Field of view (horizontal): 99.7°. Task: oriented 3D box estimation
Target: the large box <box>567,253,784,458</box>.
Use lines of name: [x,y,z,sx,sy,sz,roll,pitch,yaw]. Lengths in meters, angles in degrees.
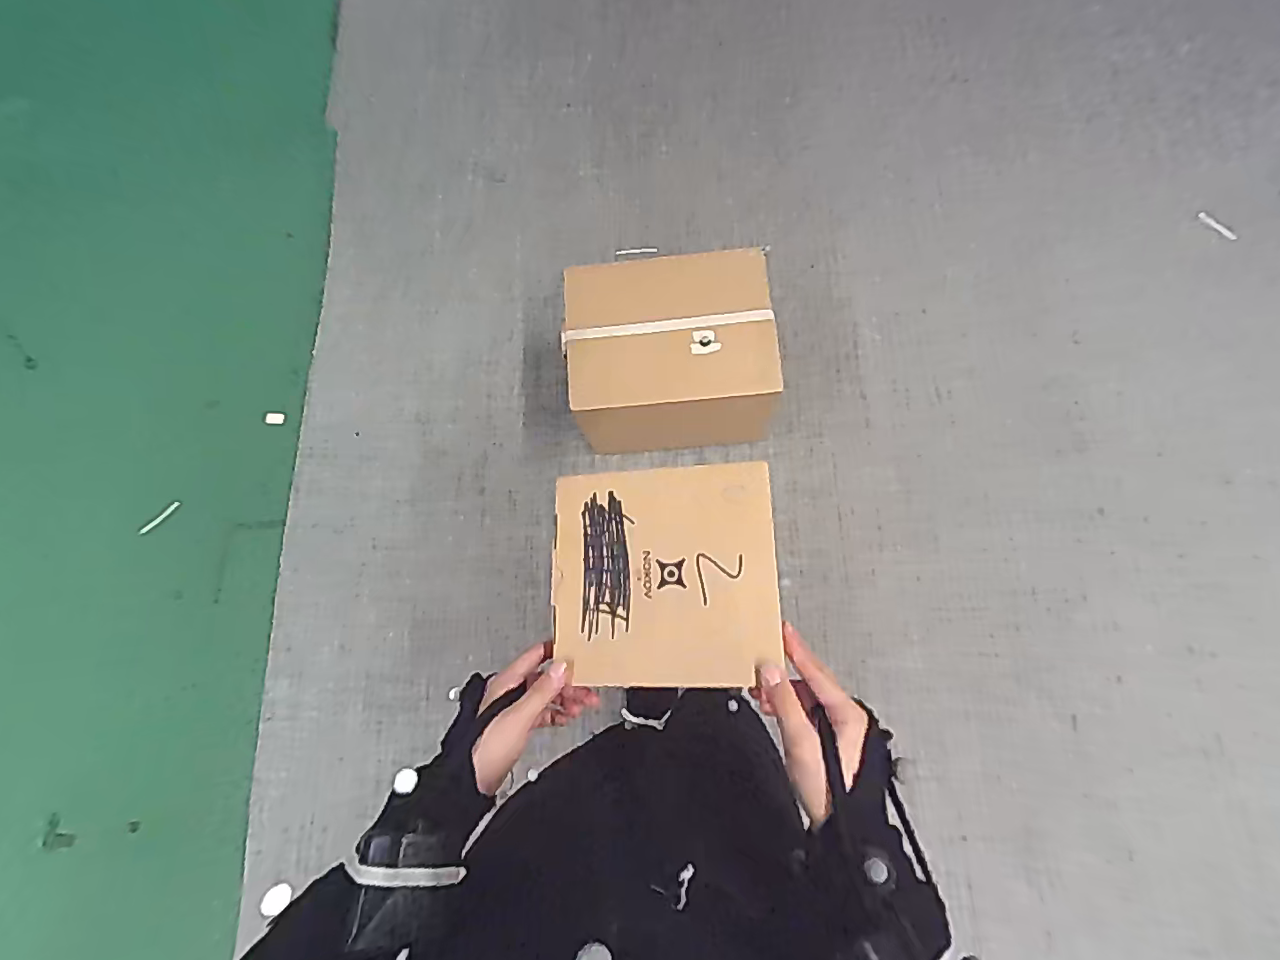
large box: [0.070,-0.253,1.194,0.408,0.320,0.320,-5,76,3]
